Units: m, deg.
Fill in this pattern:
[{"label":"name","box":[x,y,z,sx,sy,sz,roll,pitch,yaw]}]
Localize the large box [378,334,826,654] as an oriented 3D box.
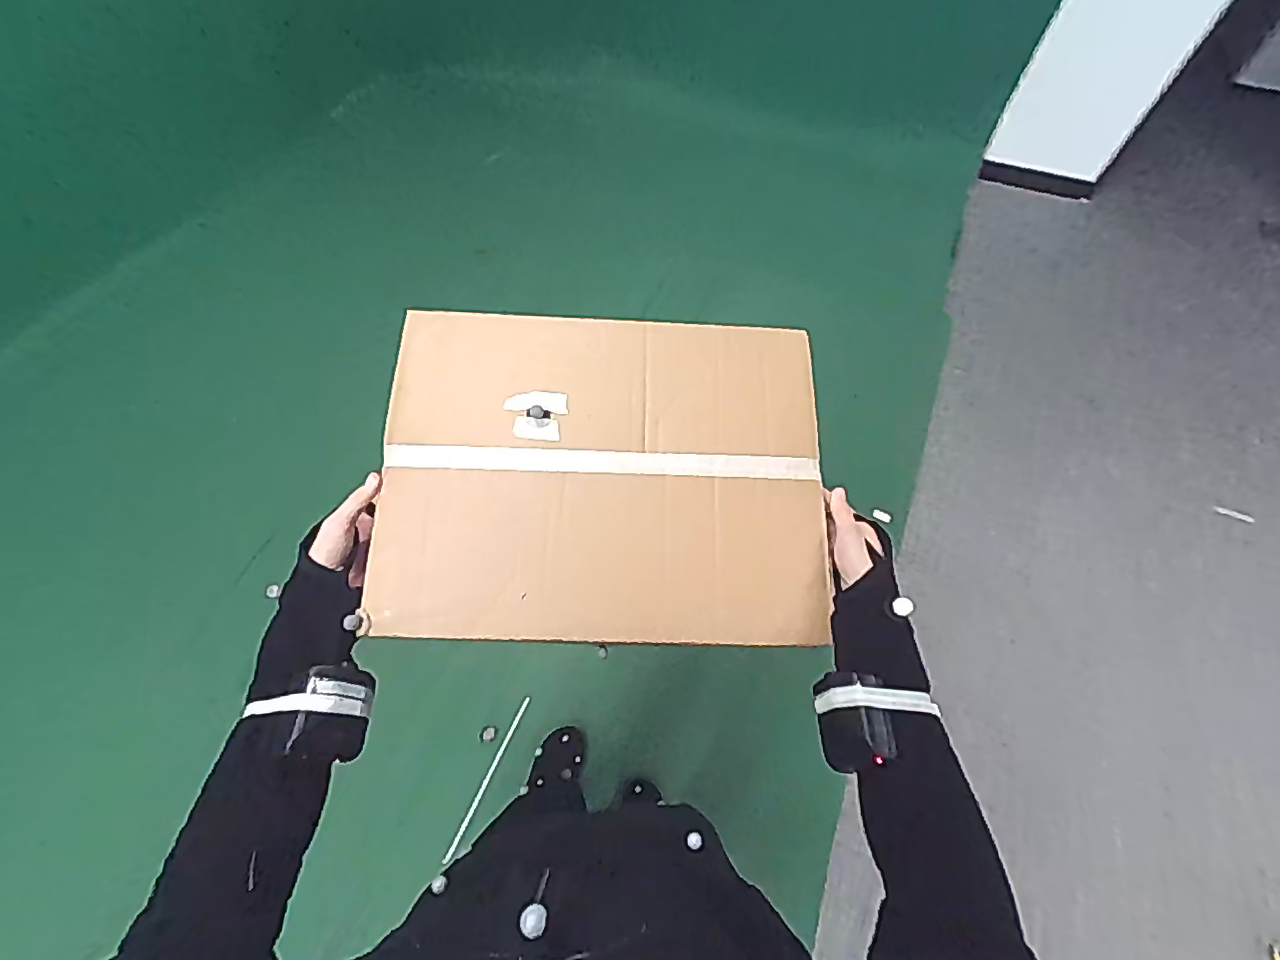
[{"label":"large box","box":[-0.032,0.043,0.660,0.408,0.320,0.320,2,72,-2]}]
